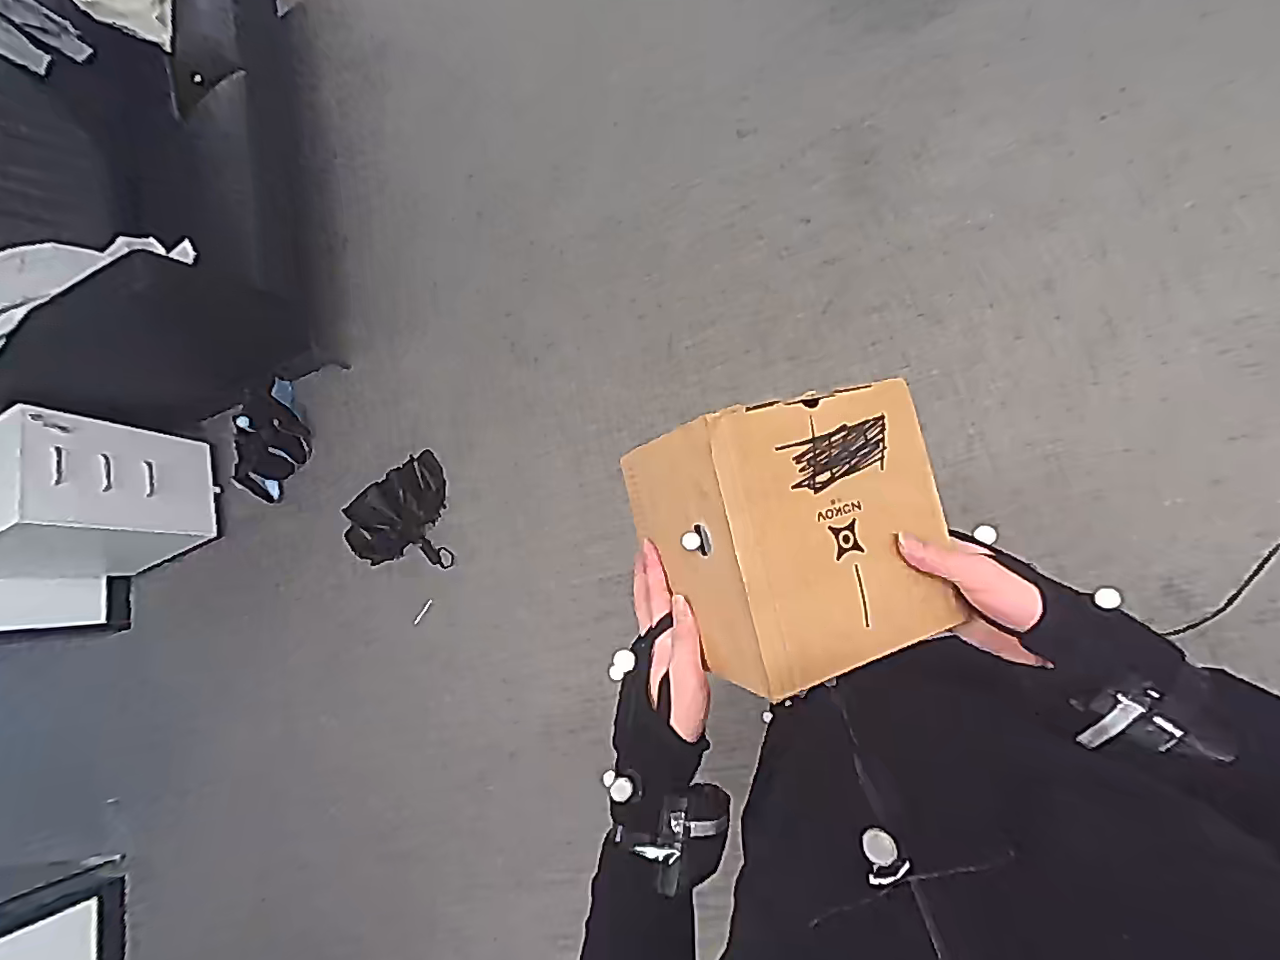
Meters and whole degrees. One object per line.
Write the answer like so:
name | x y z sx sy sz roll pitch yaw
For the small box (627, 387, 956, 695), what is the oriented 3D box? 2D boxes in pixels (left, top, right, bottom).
small box | 0.102 0.042 0.431 0.168 0.176 0.179 -13 87 -20
